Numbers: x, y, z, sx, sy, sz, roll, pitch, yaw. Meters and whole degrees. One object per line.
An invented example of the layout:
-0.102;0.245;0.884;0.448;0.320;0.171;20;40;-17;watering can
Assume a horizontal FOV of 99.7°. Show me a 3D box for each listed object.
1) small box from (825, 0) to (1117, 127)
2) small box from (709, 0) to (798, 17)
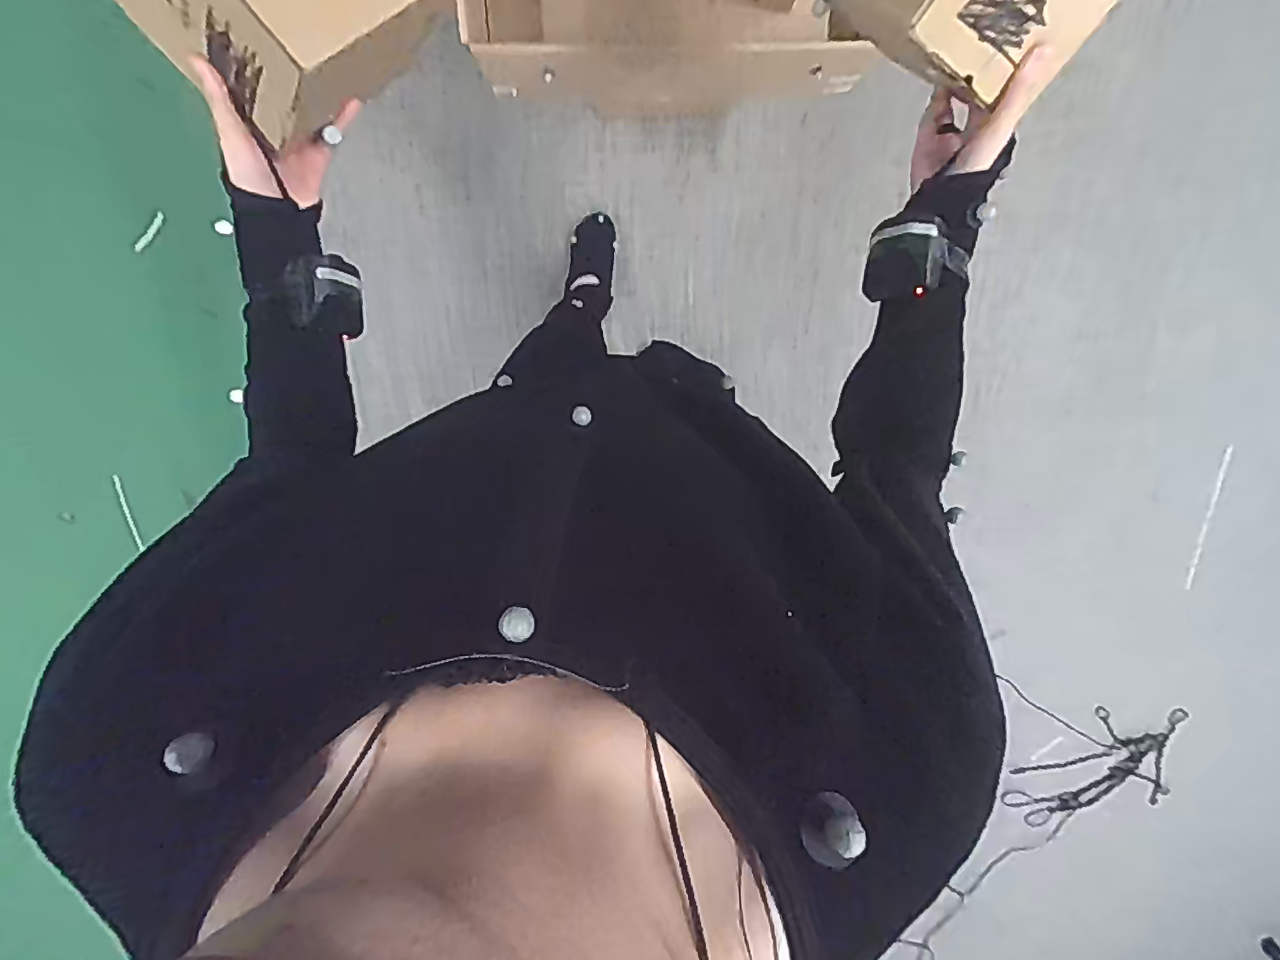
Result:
0.249;-0.412;0.395;0.168;0.176;0.179;2;139;-35;small box
0.171;-0.791;0.739;0.168;0.176;0.179;9;110;-4;small box
